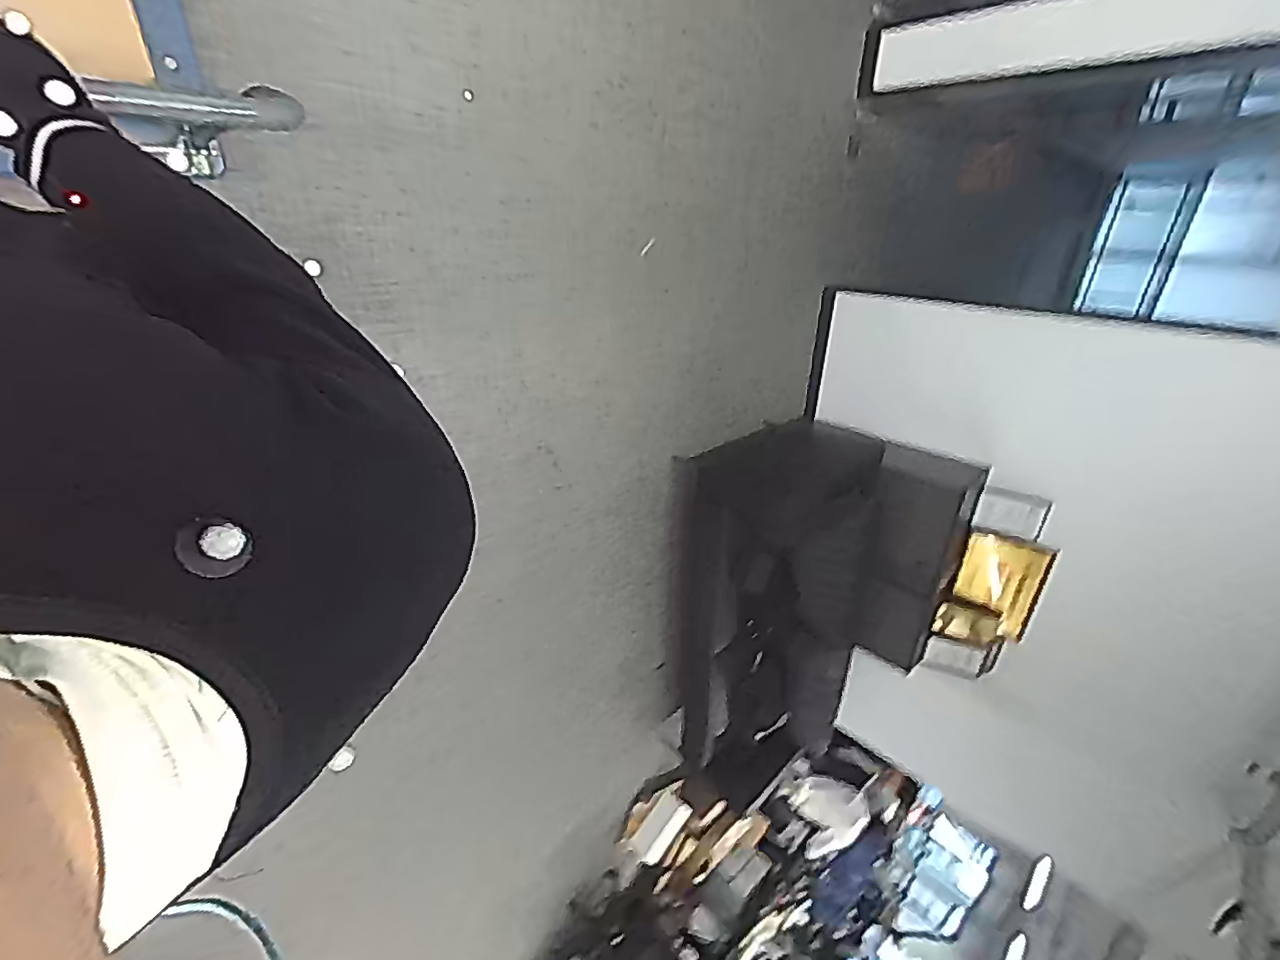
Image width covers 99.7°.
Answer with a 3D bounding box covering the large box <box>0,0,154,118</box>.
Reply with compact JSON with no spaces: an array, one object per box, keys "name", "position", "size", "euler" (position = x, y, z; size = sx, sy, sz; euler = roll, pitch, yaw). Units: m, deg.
[{"name":"large box","position":[-0.926,-0.734,0.705],"size":[0.320,0.320,0.408],"euler":[-25,125,-39]}]
